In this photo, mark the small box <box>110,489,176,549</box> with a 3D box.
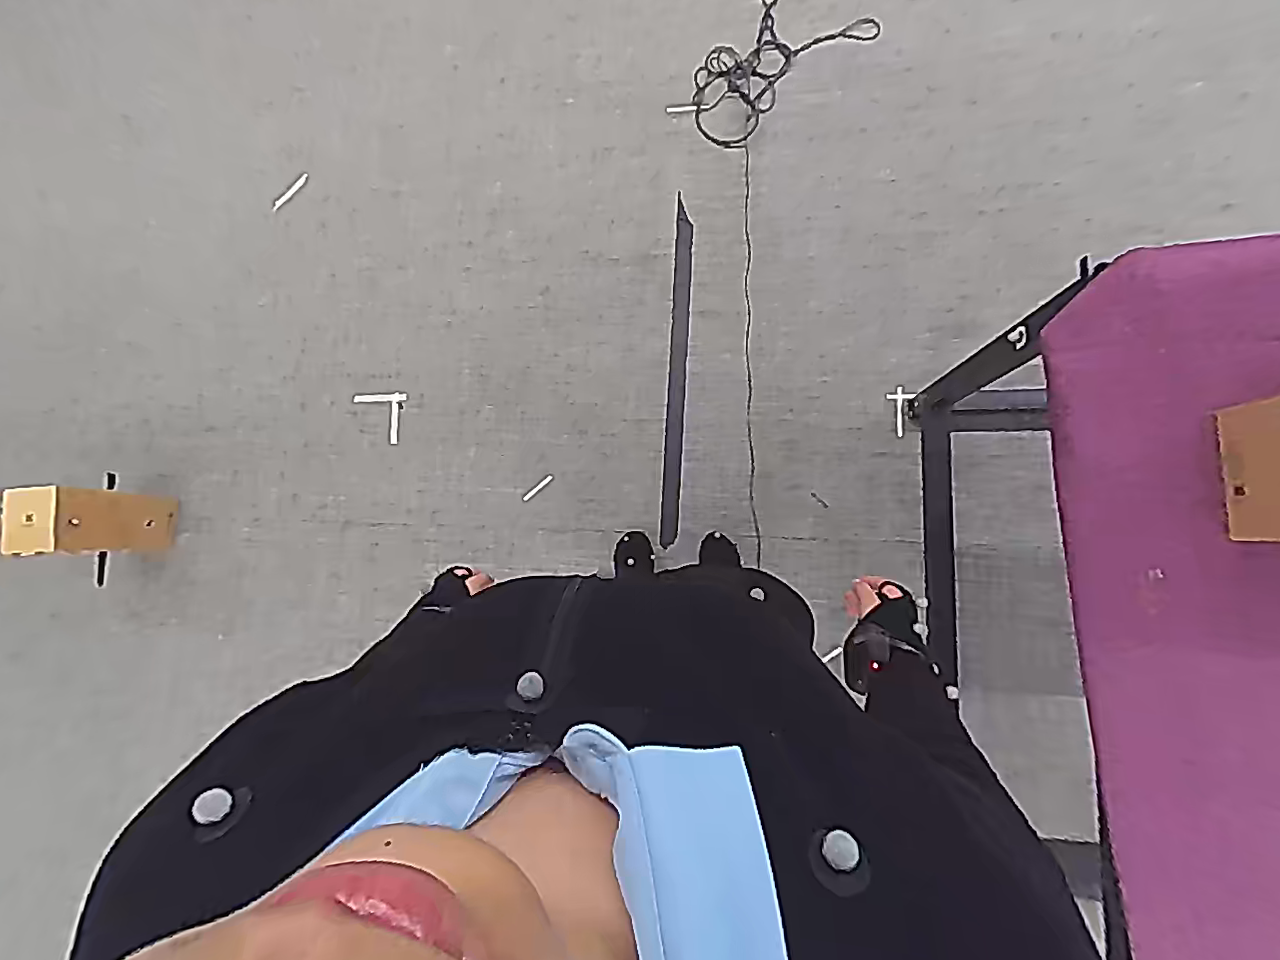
[{"bbox_3d":[-1.576,0.117,1.652,0.179,0.176,0.168,4,85,9],"label":"small box"}]

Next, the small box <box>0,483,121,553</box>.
[{"bbox_3d":[-1.588,0.107,1.489,0.168,0.176,0.179,-4,85,7],"label":"small box"}]
